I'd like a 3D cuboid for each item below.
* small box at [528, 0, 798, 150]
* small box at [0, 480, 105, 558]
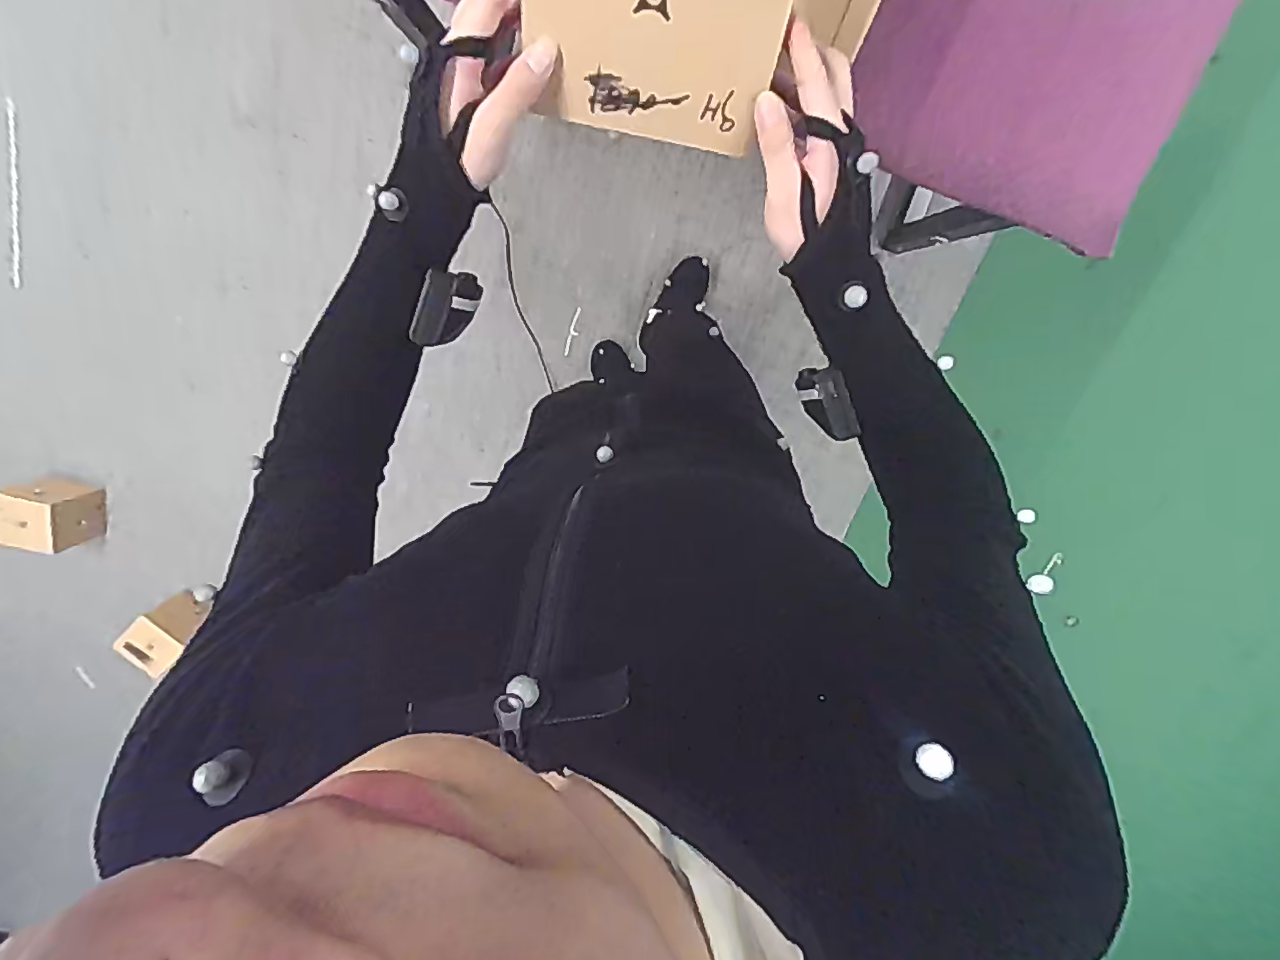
[{"bbox_3d":[0.023,-0.367,0.370,0.168,0.176,0.179,10,141,-4],"label":"small box"},{"bbox_3d":[-1.780,0.112,1.636,0.179,0.176,0.168,15,106,-3],"label":"small box"}]
